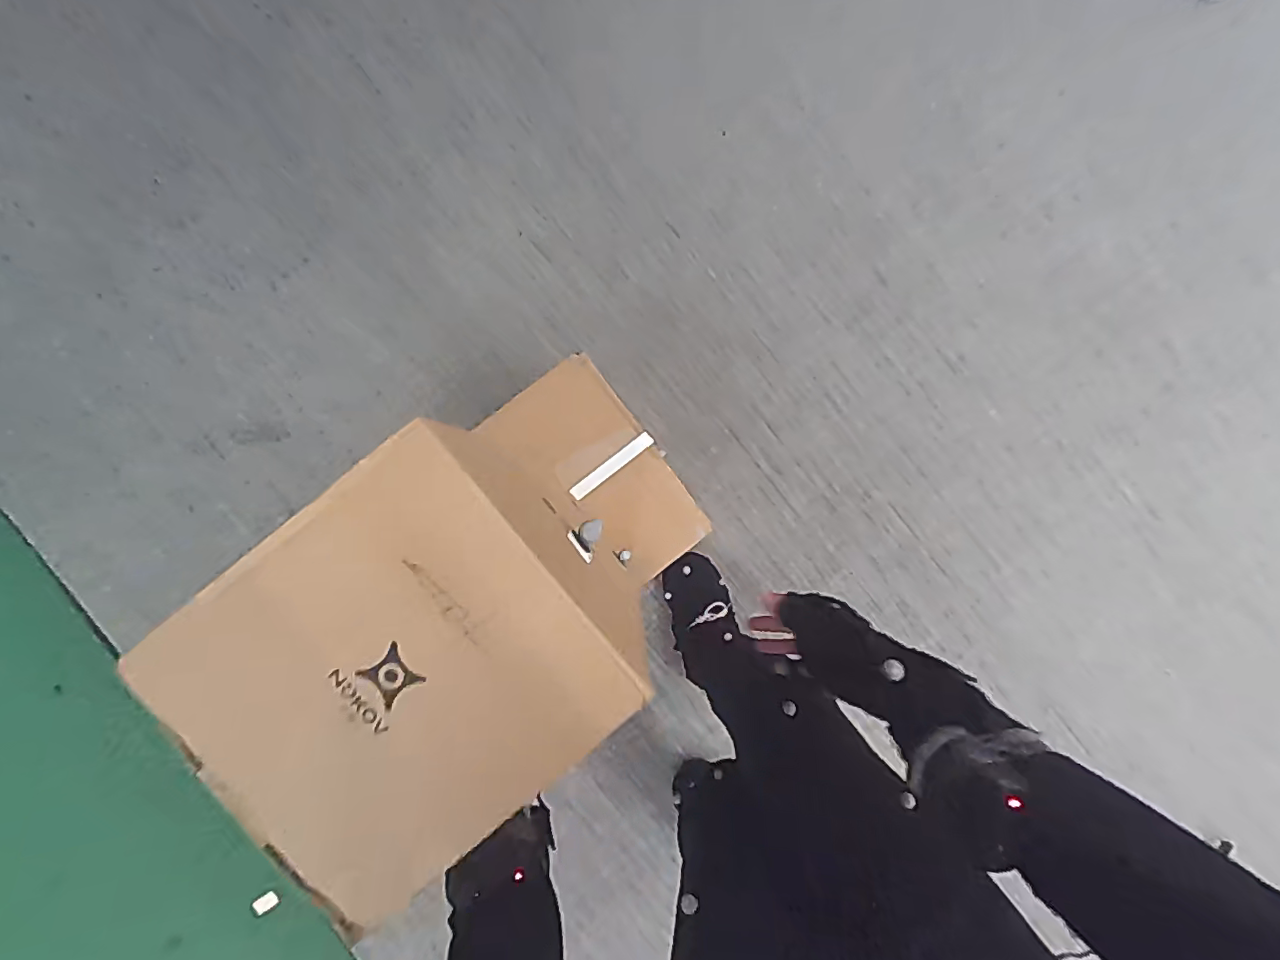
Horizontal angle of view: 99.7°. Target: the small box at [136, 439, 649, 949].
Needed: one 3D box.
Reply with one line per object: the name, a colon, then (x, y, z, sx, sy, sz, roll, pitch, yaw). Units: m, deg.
small box: (-0.111, 0.097, 0.323, 0.179, 0.176, 0.168, -40, 92, -2)
